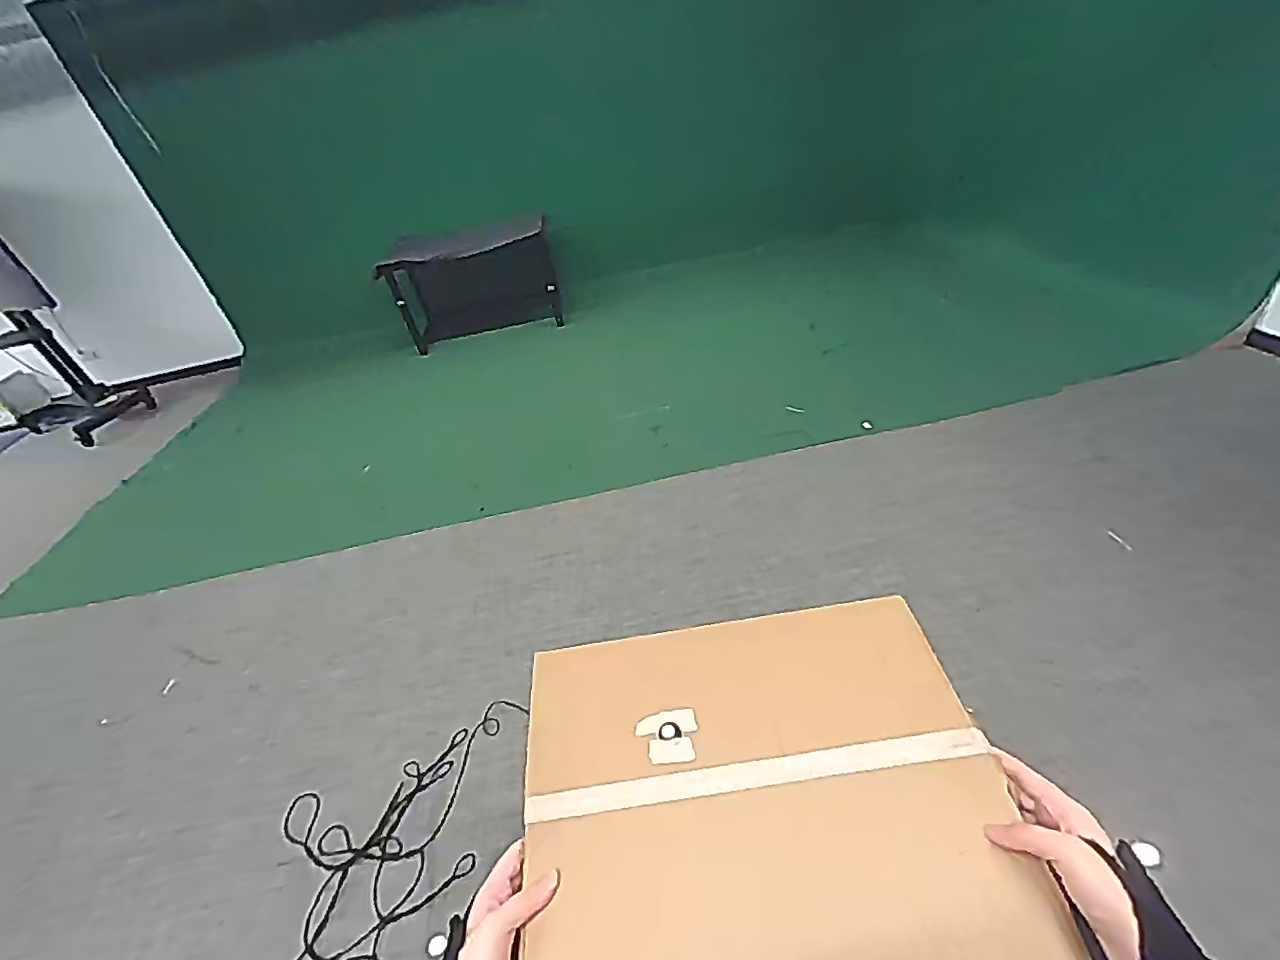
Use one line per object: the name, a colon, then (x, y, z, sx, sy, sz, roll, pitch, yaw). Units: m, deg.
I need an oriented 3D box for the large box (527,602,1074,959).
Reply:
large box: (0.122, 0.379, 0.590, 0.408, 0.320, 0.320, -11, 43, 3)
